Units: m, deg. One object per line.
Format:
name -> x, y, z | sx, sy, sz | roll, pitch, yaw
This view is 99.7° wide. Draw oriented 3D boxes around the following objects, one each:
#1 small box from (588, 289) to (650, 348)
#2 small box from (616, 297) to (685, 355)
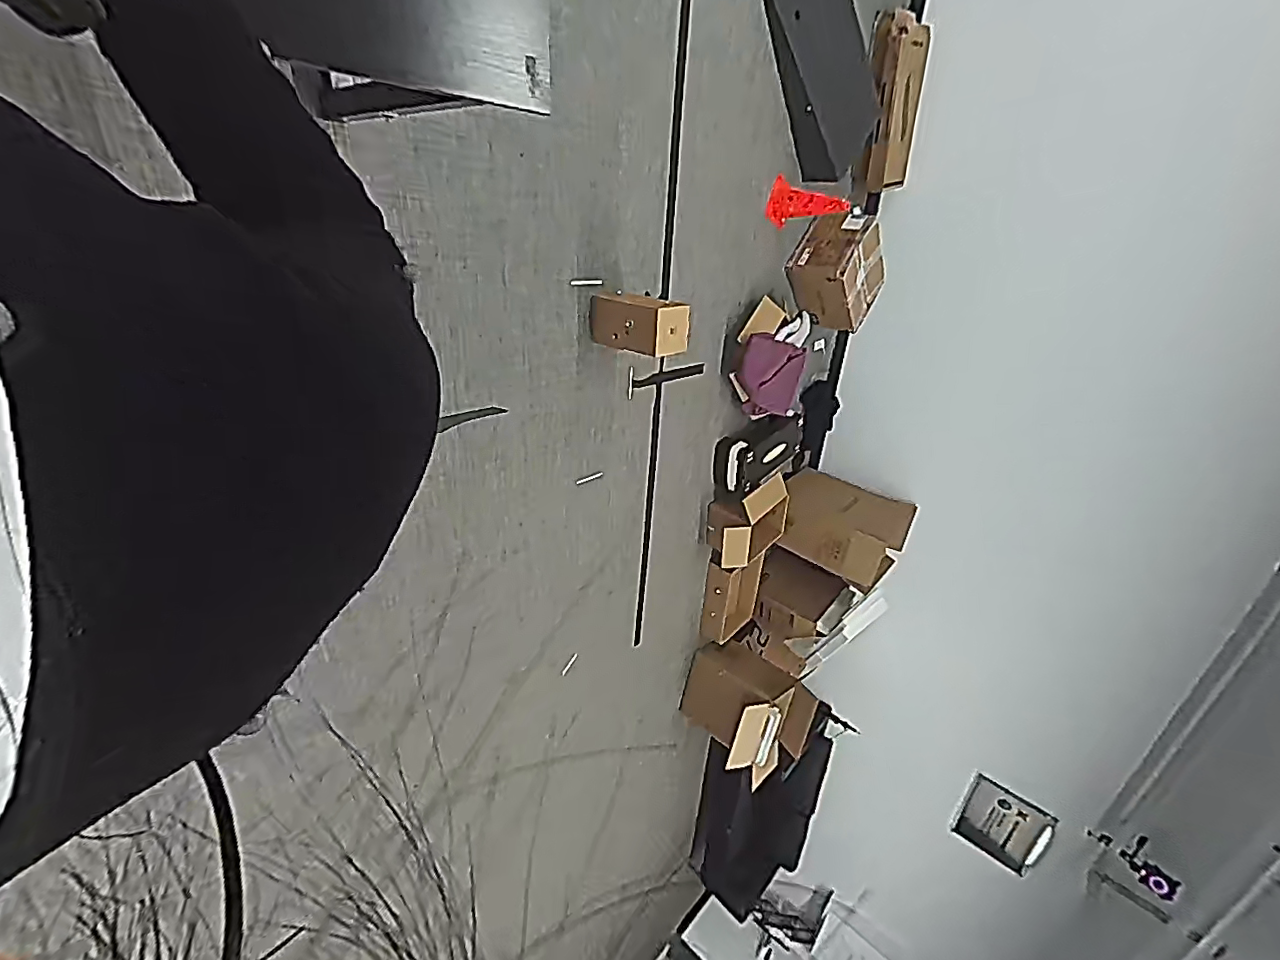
small box -> -0.081, -0.609, 2.024 | 0.168, 0.176, 0.179 | -25, 129, -42
small box -> 0.036, -0.554, 1.926 | 0.179, 0.176, 0.168 | -23, 126, -42
